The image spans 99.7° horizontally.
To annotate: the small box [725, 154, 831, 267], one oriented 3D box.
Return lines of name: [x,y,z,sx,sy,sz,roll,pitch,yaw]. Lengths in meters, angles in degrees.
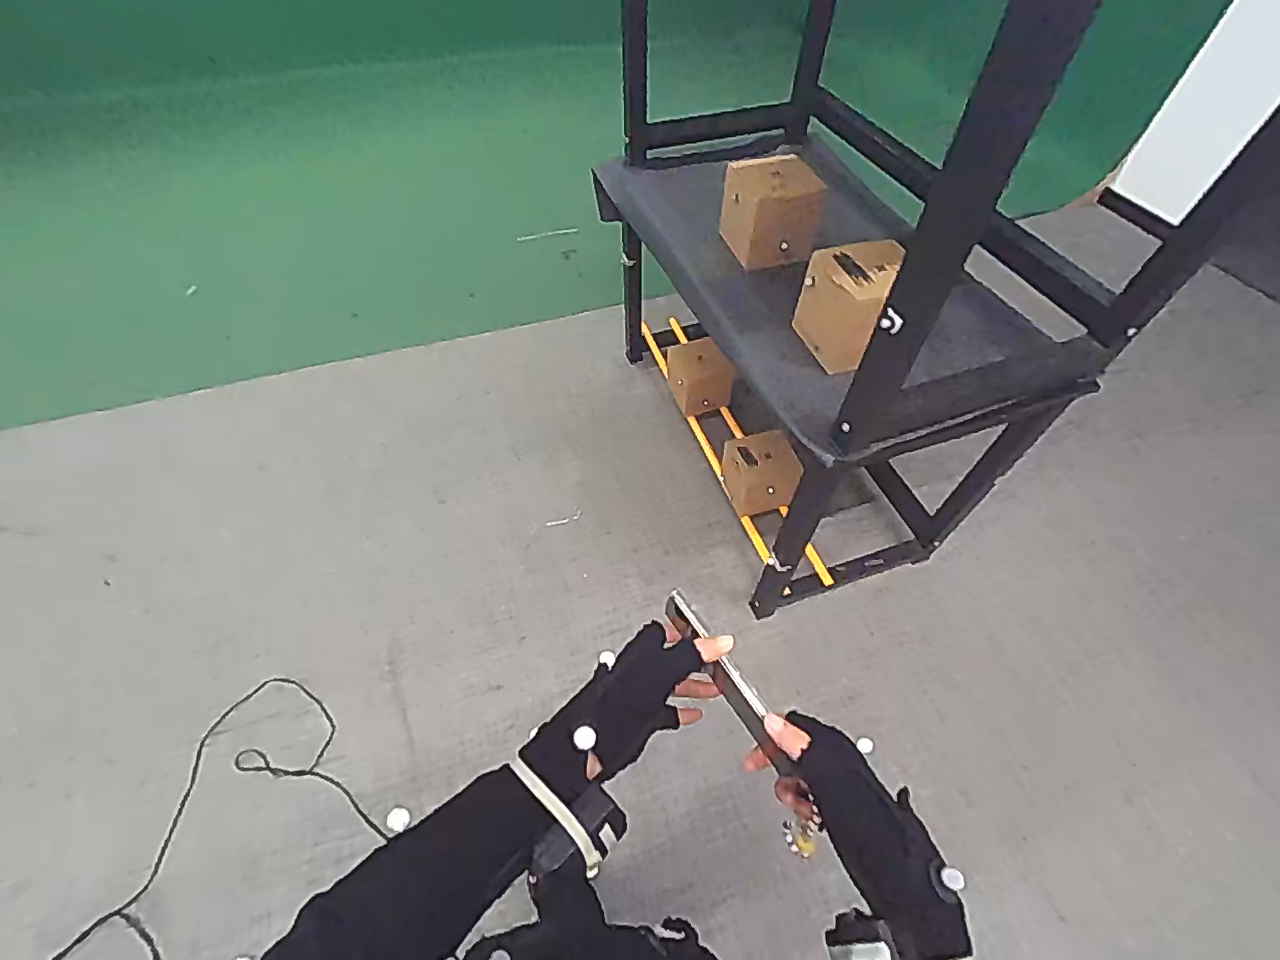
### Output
small box: [0.305,-0.618,1.243,0.168,0.176,0.179,-13,55,-9]

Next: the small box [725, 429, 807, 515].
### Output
small box: [0.357,-0.018,1.575,0.179,0.176,0.168,-13,55,-9]
